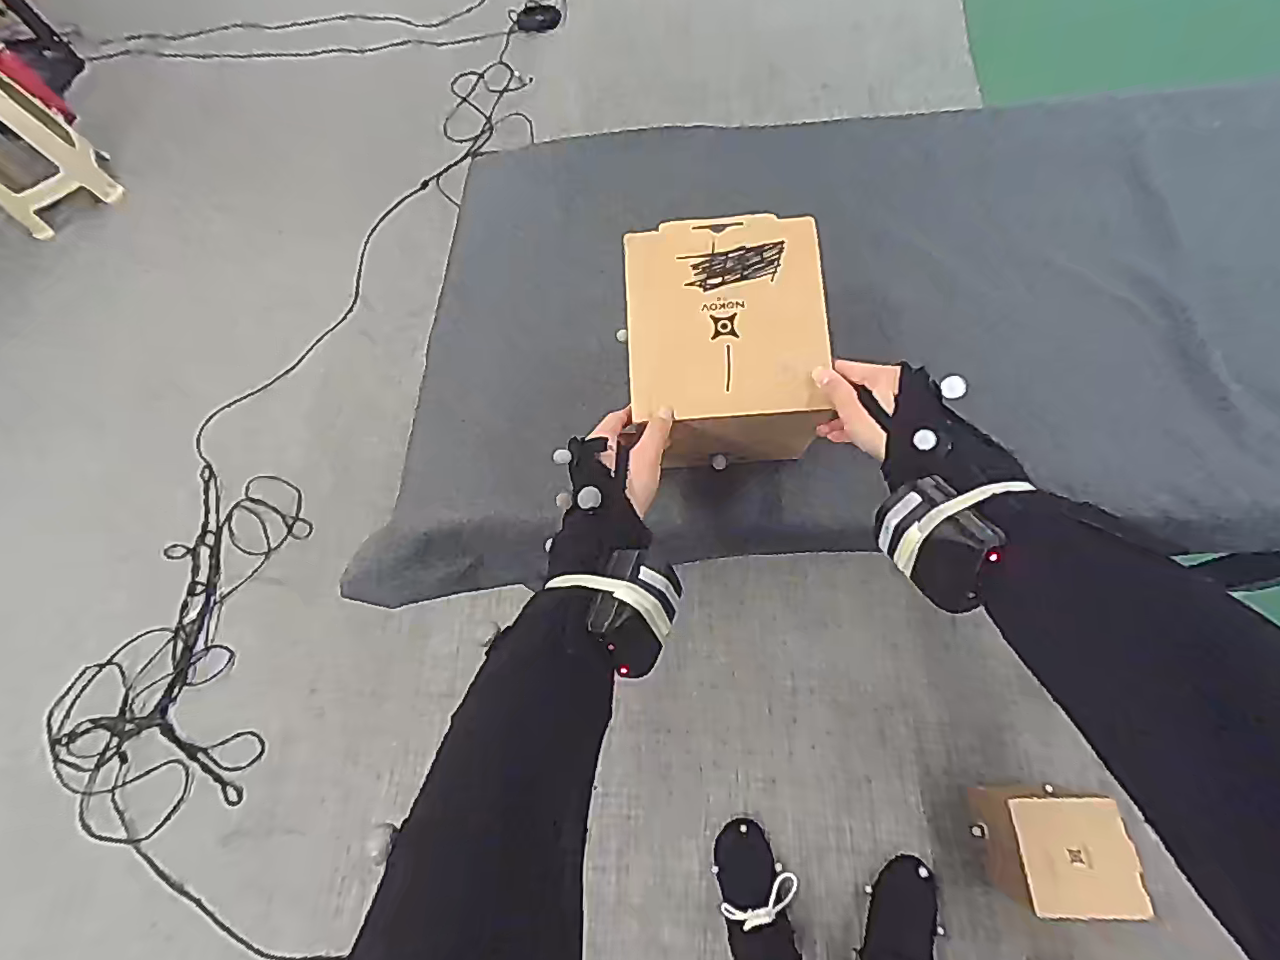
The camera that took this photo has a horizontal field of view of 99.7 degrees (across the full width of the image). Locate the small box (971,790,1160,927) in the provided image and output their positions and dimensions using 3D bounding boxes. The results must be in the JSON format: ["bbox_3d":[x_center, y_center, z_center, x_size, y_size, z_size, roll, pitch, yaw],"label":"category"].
[{"bbox_3d":[0.715,0.639,0.934,0.179,0.176,0.168,-4,66,6],"label":"small box"}]

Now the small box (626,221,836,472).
[{"bbox_3d":[0.078,-0.115,0.525,0.168,0.176,0.179,-4,78,5],"label":"small box"}]
